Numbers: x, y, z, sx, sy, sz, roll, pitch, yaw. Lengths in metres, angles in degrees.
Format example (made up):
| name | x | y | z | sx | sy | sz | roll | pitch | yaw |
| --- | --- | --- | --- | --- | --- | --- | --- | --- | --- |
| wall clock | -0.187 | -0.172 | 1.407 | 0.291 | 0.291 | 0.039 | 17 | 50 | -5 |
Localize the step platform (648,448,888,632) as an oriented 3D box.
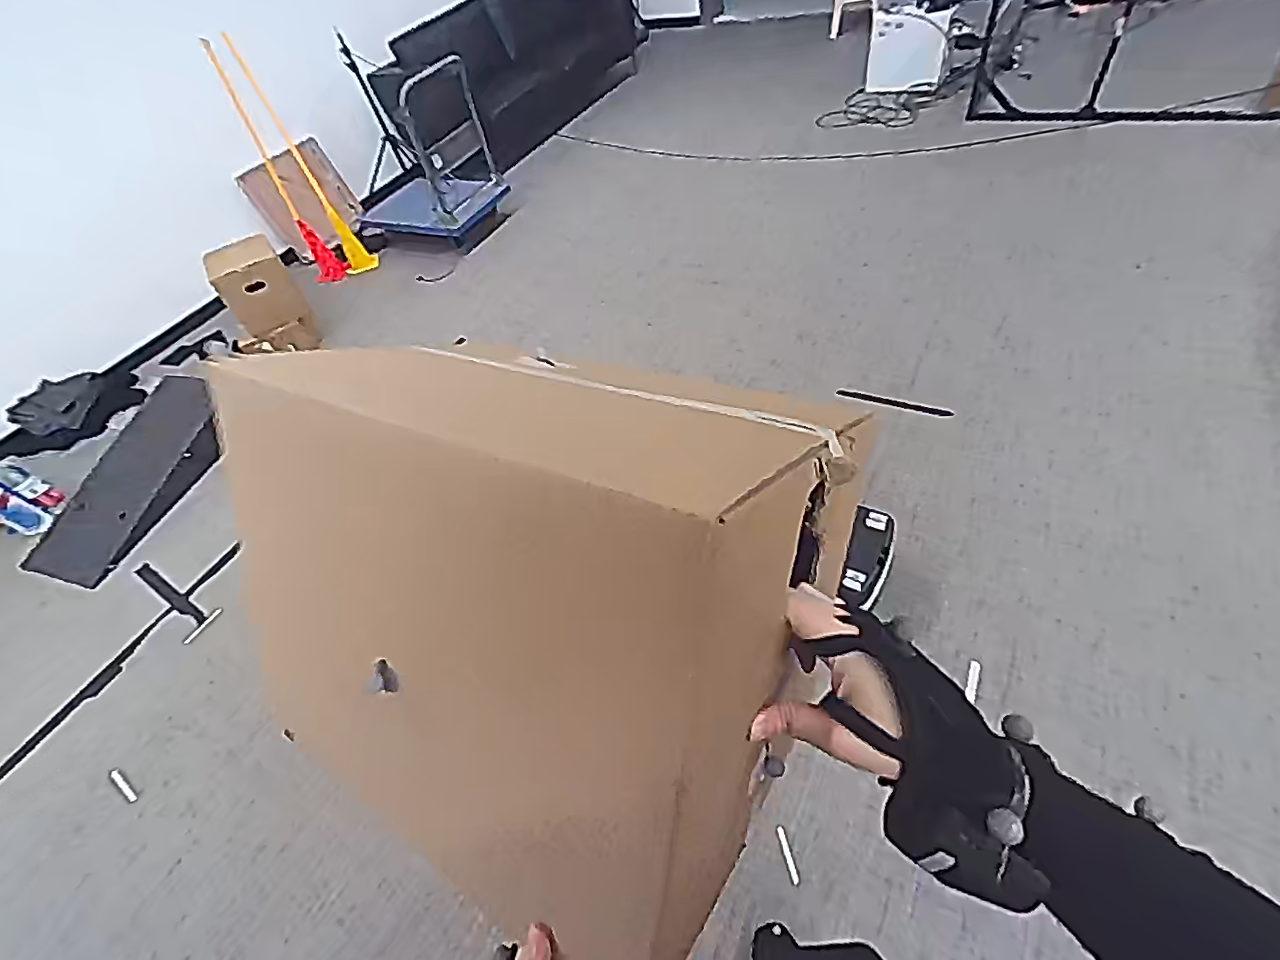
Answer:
| name | x | y | z | sx | sy | sz | roll | pitch | yaw |
| --- | --- | --- | --- | --- | --- | --- | --- | --- | --- |
| step platform | 0.356 | 0.149 | 1.601 | 0.684 | 0.204 | 0.286 | 24 | 61 | 31 |
